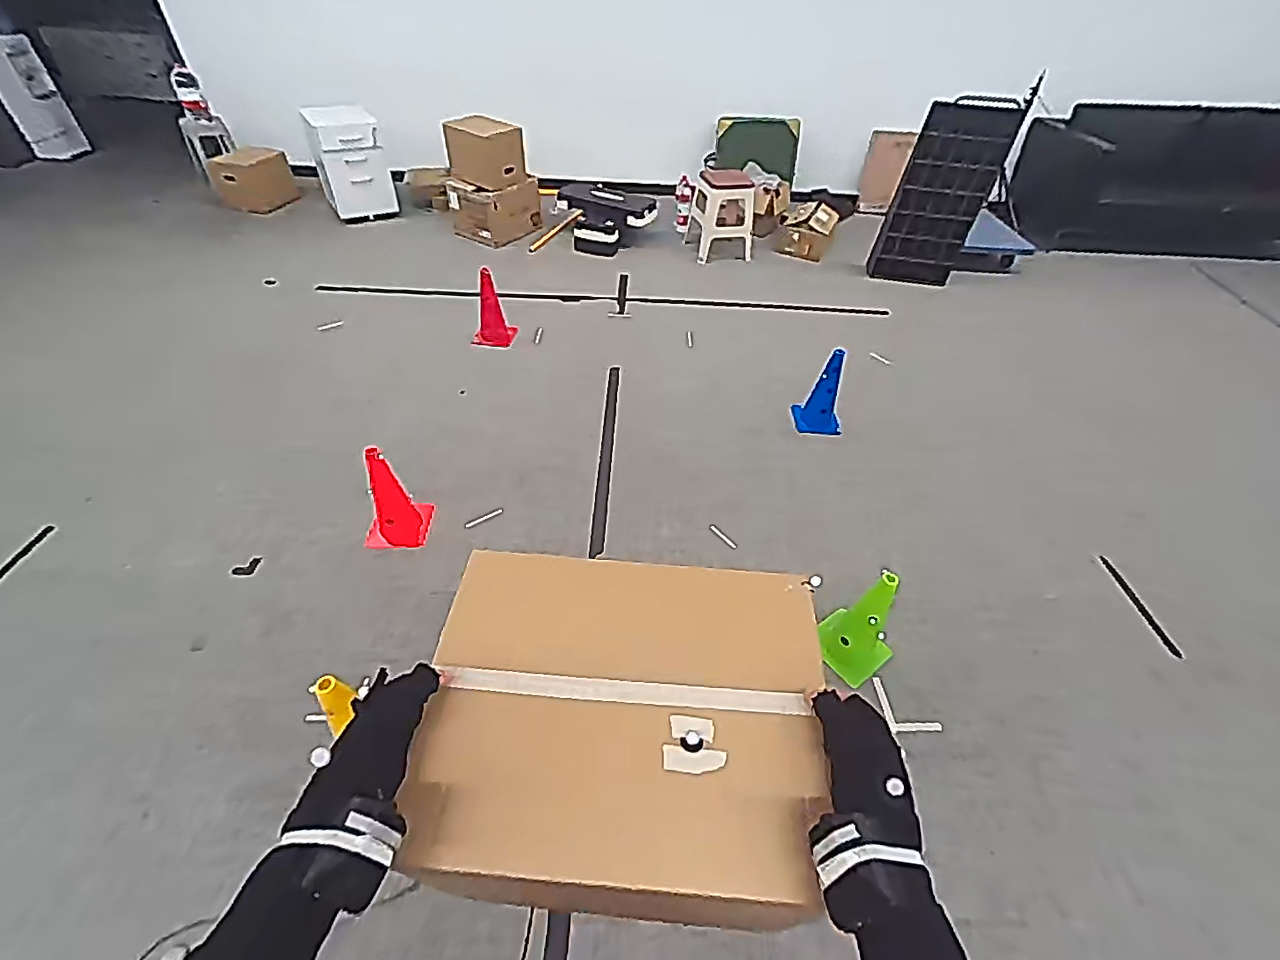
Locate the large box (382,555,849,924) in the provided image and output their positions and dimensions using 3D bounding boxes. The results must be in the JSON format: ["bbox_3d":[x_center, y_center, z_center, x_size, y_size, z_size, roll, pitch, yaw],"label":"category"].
[{"bbox_3d":[-0.019,0.317,0.659,0.408,0.320,0.320,5,48,2],"label":"large box"}]

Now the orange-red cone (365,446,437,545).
[{"bbox_3d":[-0.827,0.033,1.783,0.198,0.360,0.199,0,46,-2],"label":"orange-red cone"}]

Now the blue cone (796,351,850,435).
[{"bbox_3d":[0.820,-0.389,2.341,0.192,0.380,0.193,6,45,0],"label":"blue cone"}]

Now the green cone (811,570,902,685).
[{"bbox_3d":[0.649,0.380,1.528,0.202,0.368,0.200,-25,52,-28],"label":"green cone"}]

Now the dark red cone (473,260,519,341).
[{"bbox_3d":[-0.734,-0.893,2.691,0.201,0.394,0.202,7,45,2],"label":"dark red cone"}]
